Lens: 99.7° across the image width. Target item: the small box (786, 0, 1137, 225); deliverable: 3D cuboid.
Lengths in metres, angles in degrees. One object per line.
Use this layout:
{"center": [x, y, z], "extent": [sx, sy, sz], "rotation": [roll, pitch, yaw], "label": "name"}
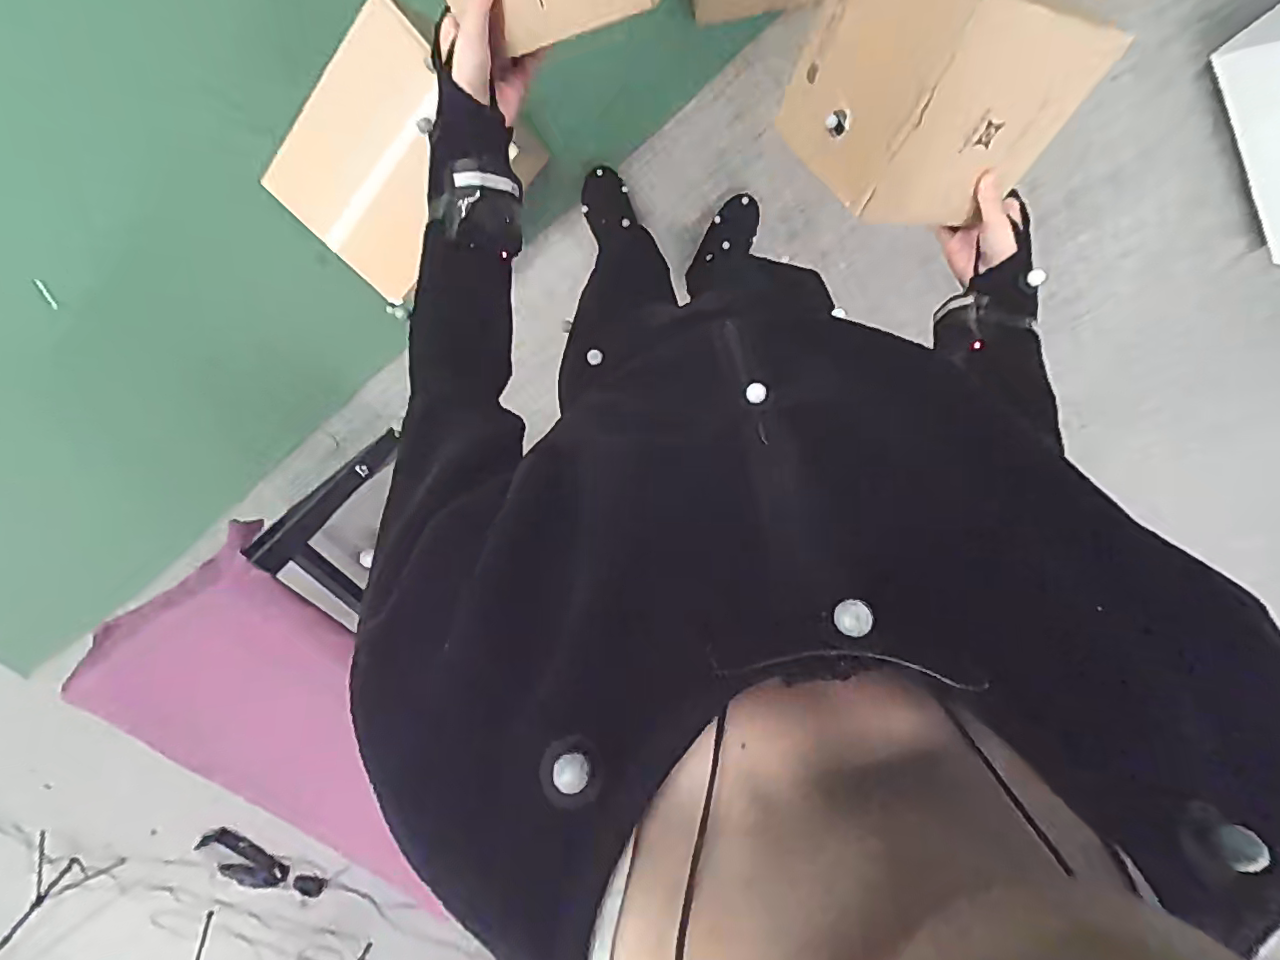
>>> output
{"center": [0.266, -0.361, 0.490], "extent": [0.179, 0.176, 0.168], "rotation": [-9, 149, -24], "label": "small box"}
